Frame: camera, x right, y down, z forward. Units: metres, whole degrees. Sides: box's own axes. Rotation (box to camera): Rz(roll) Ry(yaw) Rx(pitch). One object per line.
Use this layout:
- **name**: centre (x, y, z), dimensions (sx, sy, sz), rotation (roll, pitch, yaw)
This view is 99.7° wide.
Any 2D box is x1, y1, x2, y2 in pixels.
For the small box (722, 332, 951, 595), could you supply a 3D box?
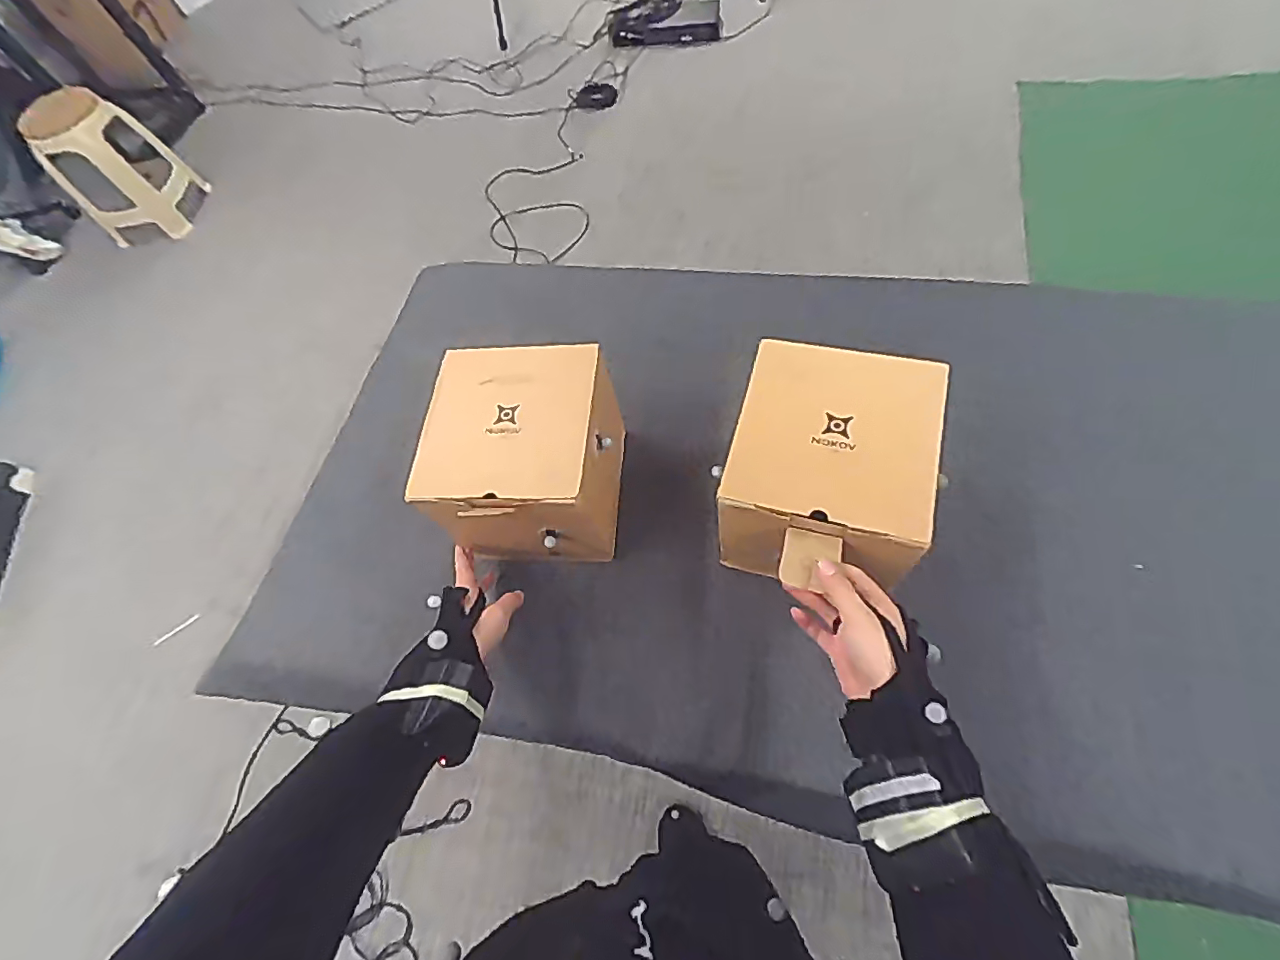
- **small box**: centre (0.176, -0.010, 0.520), dimensions (0.168, 0.176, 0.179), rotation (12, 66, 14)

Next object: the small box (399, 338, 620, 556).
- **small box**: centre (-0.118, -0.026, 0.575), dimensions (0.168, 0.176, 0.179), rotation (0, 62, 8)
